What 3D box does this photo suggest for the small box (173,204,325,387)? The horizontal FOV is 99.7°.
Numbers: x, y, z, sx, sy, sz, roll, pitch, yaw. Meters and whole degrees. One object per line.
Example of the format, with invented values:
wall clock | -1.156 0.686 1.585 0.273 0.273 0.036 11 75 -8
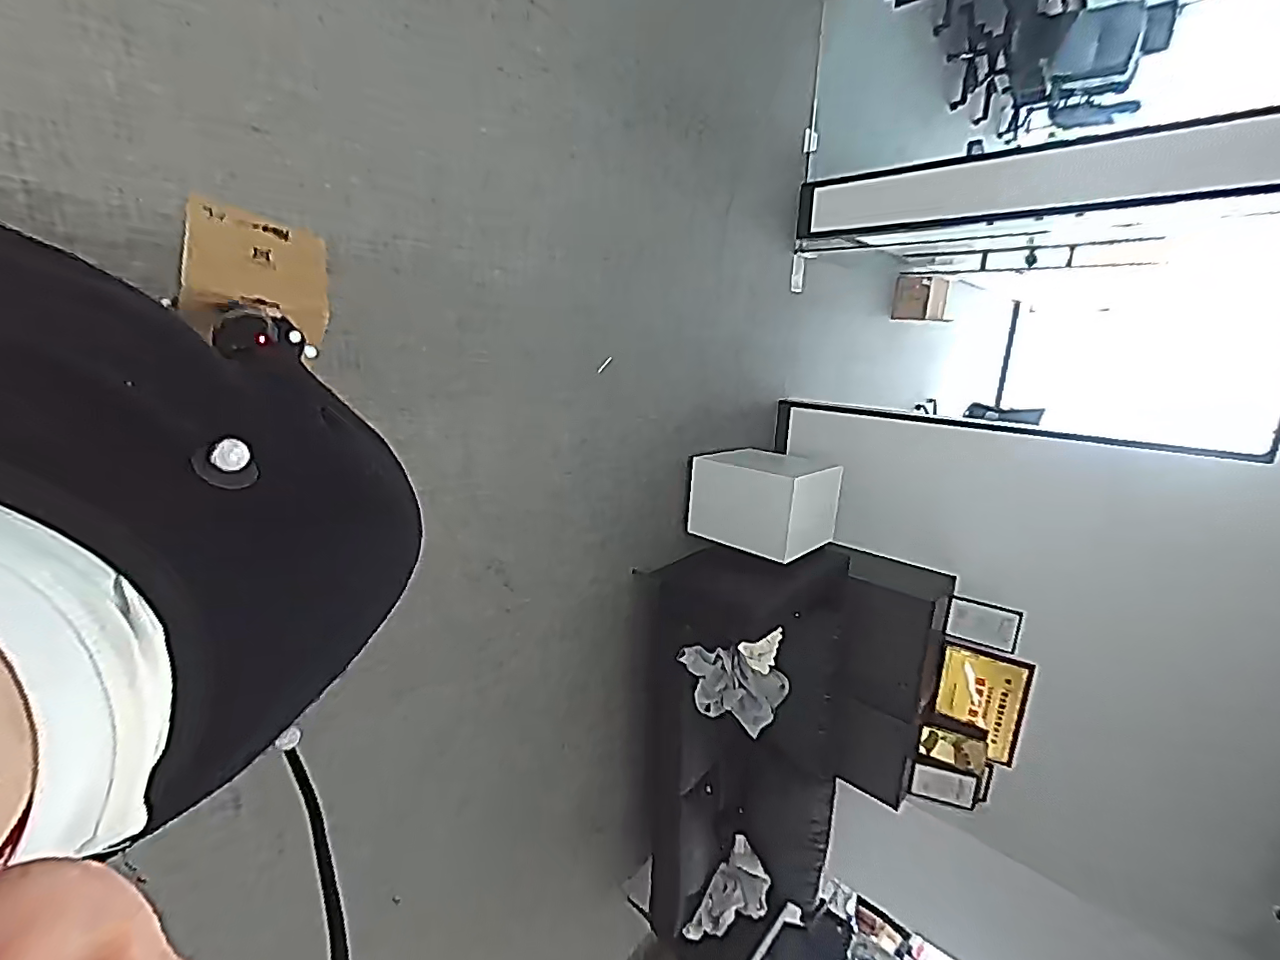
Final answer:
small box | -0.585 -0.261 0.808 0.168 0.176 0.179 2 58 -42
